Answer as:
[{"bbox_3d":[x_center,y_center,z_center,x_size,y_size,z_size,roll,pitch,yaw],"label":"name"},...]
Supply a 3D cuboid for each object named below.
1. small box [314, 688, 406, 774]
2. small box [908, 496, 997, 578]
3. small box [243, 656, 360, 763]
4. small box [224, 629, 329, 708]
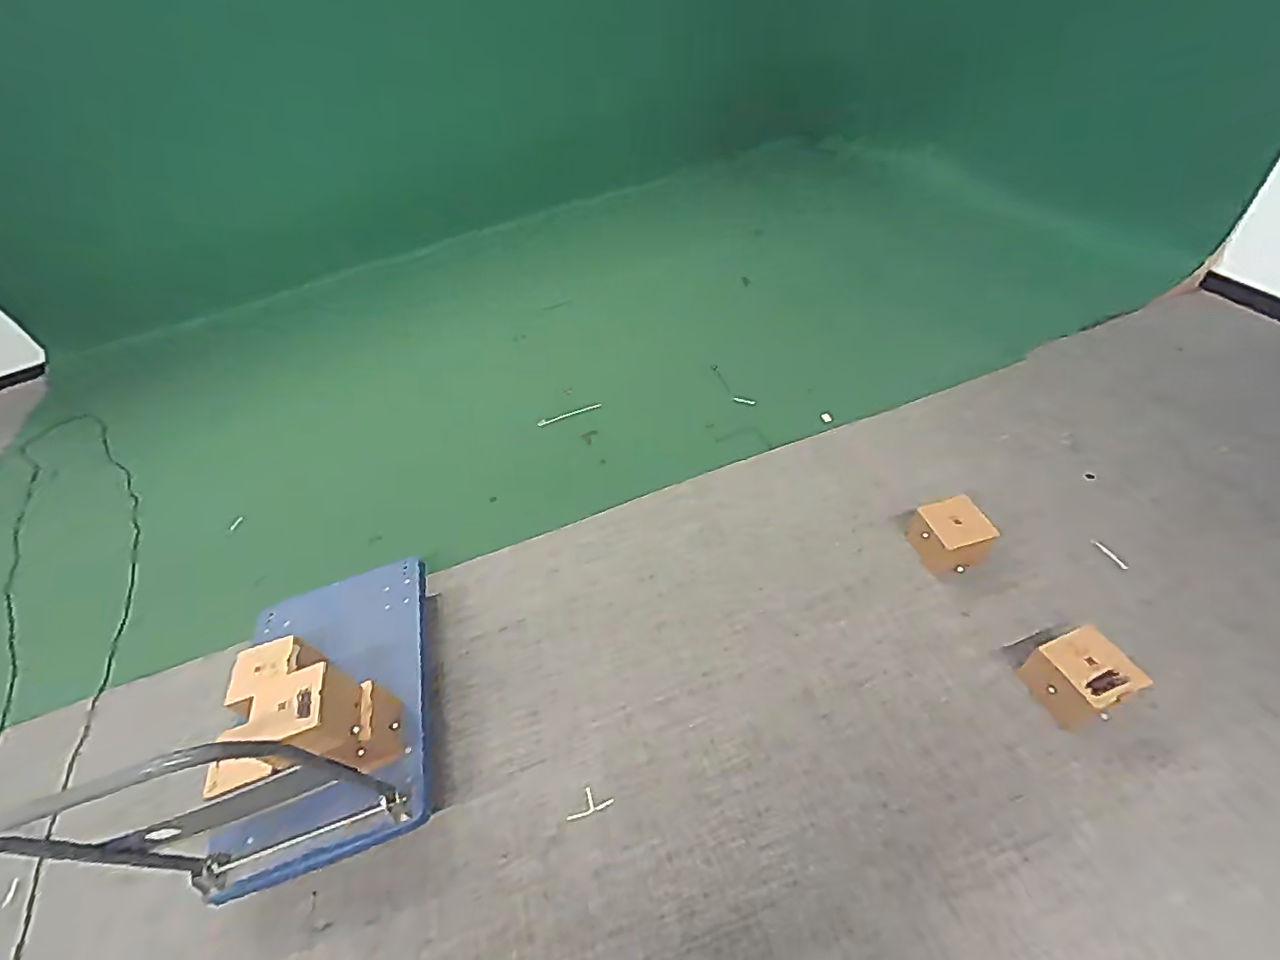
[{"bbox_3d":[-0.769,0.672,1.458,0.168,0.176,0.179,5,51,14],"label":"small box"},{"bbox_3d":[0.992,0.185,1.736,0.168,0.176,0.179,-15,47,0],"label":"small box"},{"bbox_3d":[-0.819,0.566,1.330,0.179,0.176,0.168,-19,47,-4],"label":"small box"},{"bbox_3d":[-1.066,0.574,1.601,0.179,0.176,0.168,-16,48,-2],"label":"small box"}]
